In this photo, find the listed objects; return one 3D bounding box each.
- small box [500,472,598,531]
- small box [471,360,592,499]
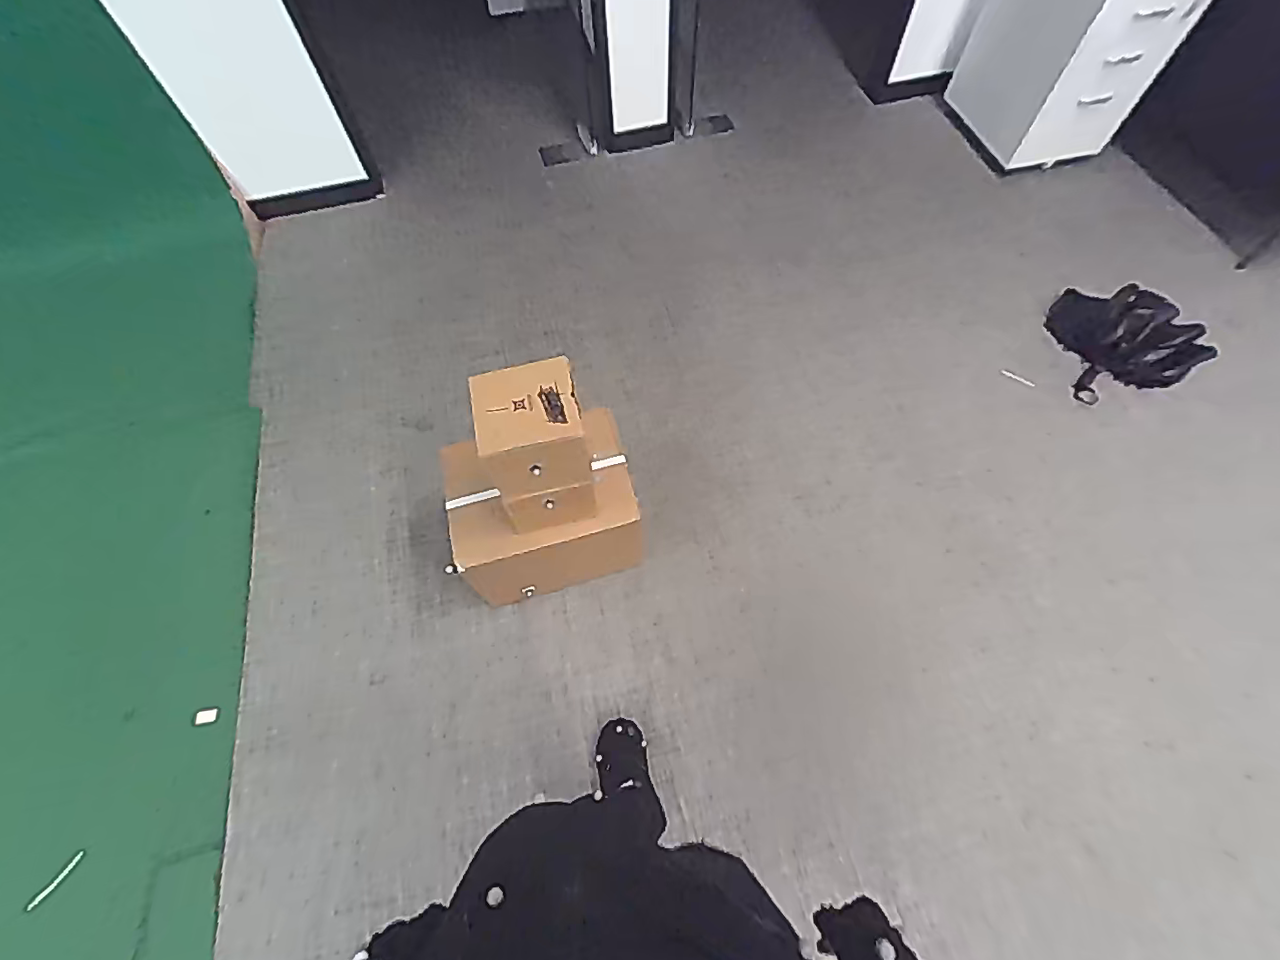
[{"bbox_3d":[-0.192,-0.009,1.120,0.179,0.176,0.168,-13,65,-6],"label":"small box"},{"bbox_3d":[-0.188,-0.085,0.975,0.179,0.176,0.168,-14,65,-7],"label":"small box"}]
